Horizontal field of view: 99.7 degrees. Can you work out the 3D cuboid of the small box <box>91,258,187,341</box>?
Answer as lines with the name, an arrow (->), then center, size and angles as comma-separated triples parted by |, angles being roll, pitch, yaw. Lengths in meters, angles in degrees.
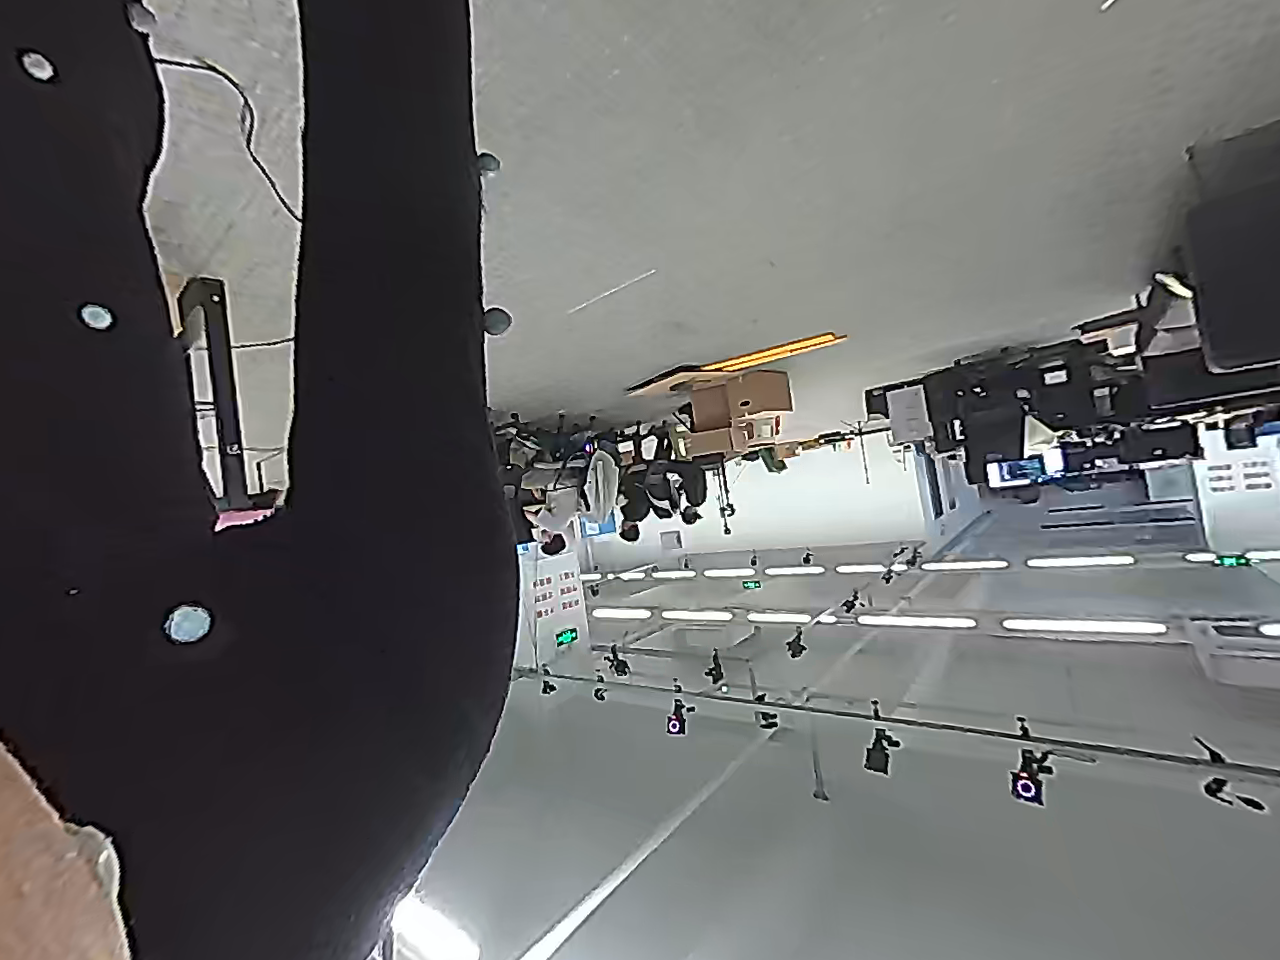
small box -> -1.439, -0.515, 1.554 | 0.168, 0.176, 0.179 | -9, 177, 40
